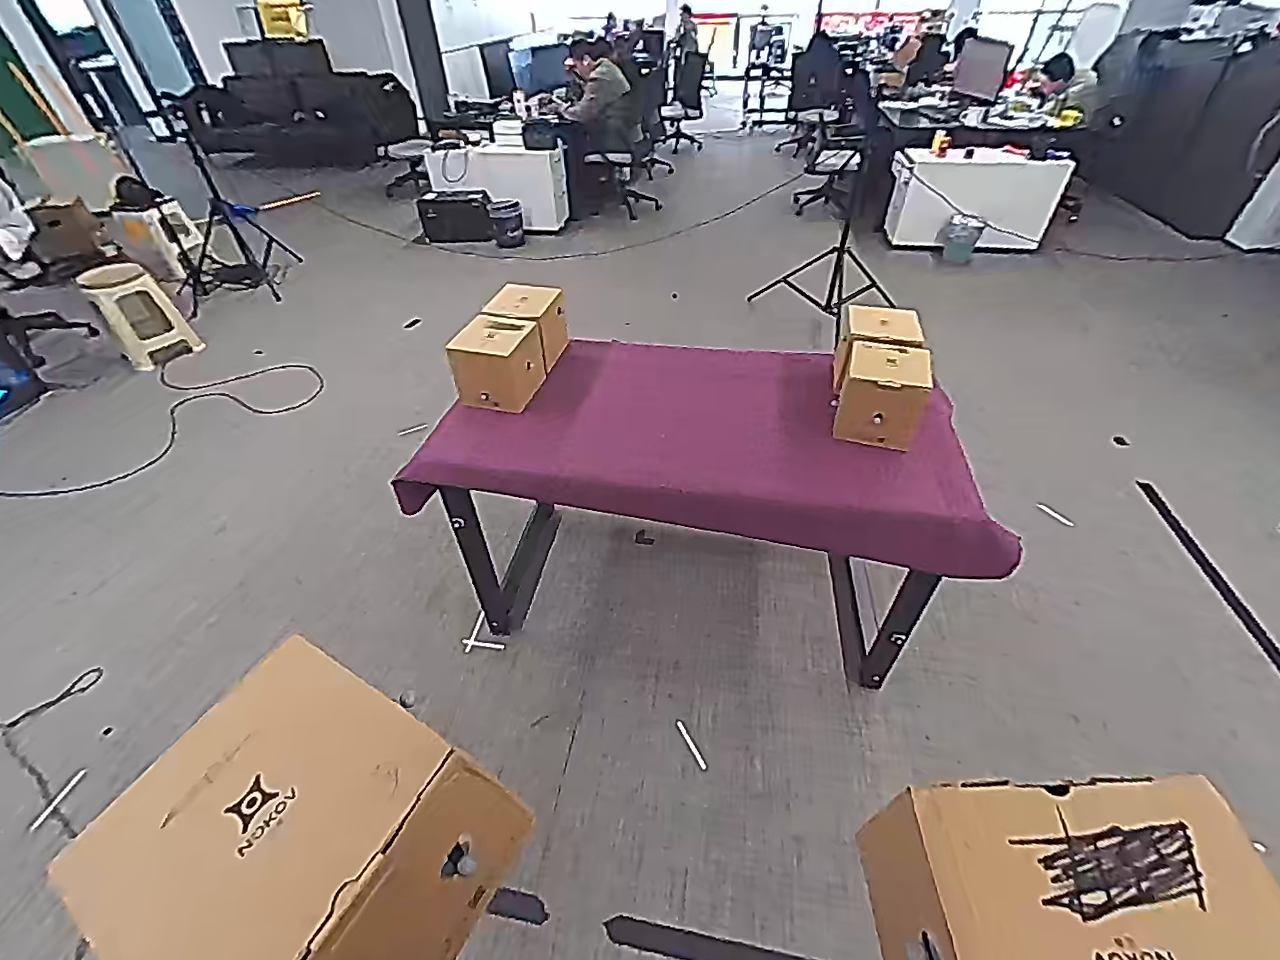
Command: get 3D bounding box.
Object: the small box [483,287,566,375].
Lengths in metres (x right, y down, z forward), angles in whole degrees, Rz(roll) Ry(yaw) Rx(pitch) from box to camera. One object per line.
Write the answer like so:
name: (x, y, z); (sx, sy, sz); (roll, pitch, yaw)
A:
small box: (-0.311, -0.415, 1.504); (0.168, 0.176, 0.179); (9, 44, 11)

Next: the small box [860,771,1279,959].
small box: (0.245, 0.289, 0.317); (0.168, 0.176, 0.179); (-5, 49, 4)

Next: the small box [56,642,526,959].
small box: (-0.206, 0.249, 0.369); (0.179, 0.176, 0.168); (16, 50, 27)

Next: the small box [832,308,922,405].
small box: (0.593, -0.315, 1.377); (0.168, 0.176, 0.179); (9, 43, 10)
